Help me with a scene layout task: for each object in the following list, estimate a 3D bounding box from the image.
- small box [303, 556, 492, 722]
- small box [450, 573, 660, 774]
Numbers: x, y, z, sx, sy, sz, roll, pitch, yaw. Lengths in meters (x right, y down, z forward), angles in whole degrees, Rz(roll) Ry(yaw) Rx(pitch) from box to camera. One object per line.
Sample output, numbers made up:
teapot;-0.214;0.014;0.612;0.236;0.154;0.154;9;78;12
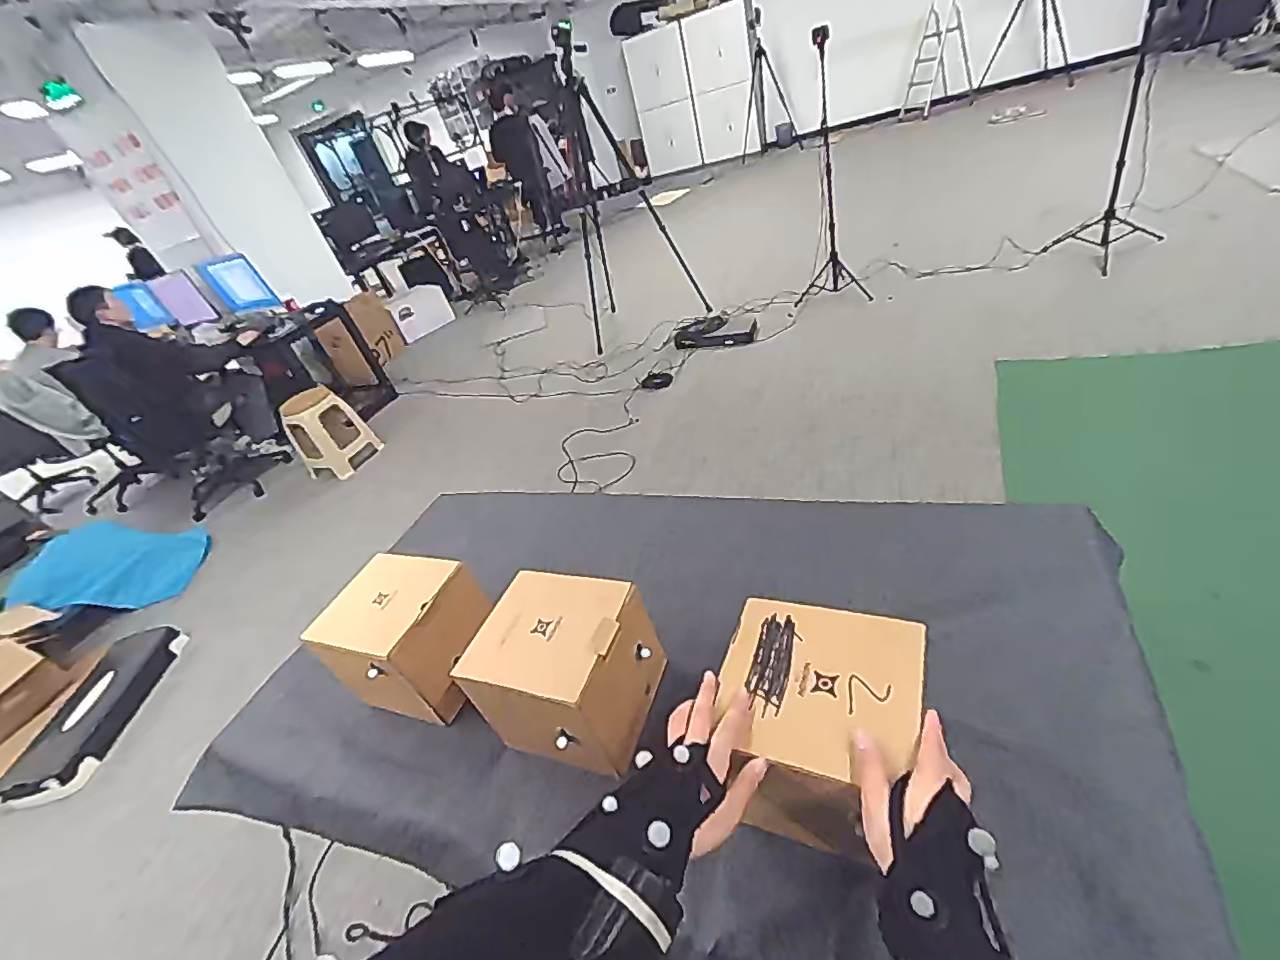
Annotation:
small box;-0.342;0.234;0.810;0.179;0.176;0.168;1;39;25
small box;-0.092;0.240;0.682;0.179;0.176;0.168;-1;37;27
